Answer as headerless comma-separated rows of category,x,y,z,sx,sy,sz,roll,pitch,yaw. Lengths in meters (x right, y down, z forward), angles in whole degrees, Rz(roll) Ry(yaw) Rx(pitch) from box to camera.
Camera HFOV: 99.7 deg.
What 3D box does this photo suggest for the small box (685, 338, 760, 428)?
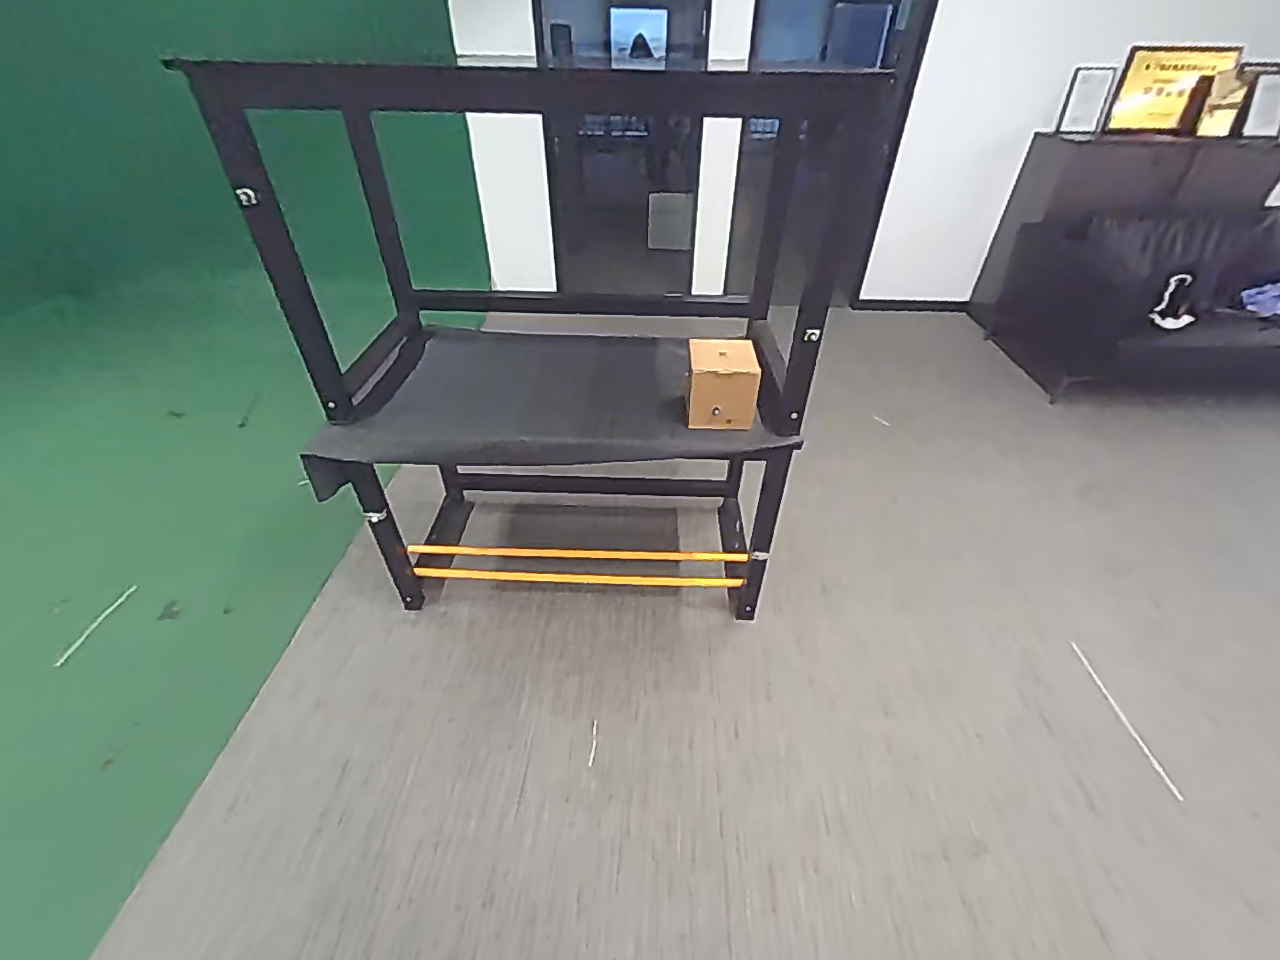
small box,0.206,-0.251,1.397,0.168,0.176,0.179,1,39,1
